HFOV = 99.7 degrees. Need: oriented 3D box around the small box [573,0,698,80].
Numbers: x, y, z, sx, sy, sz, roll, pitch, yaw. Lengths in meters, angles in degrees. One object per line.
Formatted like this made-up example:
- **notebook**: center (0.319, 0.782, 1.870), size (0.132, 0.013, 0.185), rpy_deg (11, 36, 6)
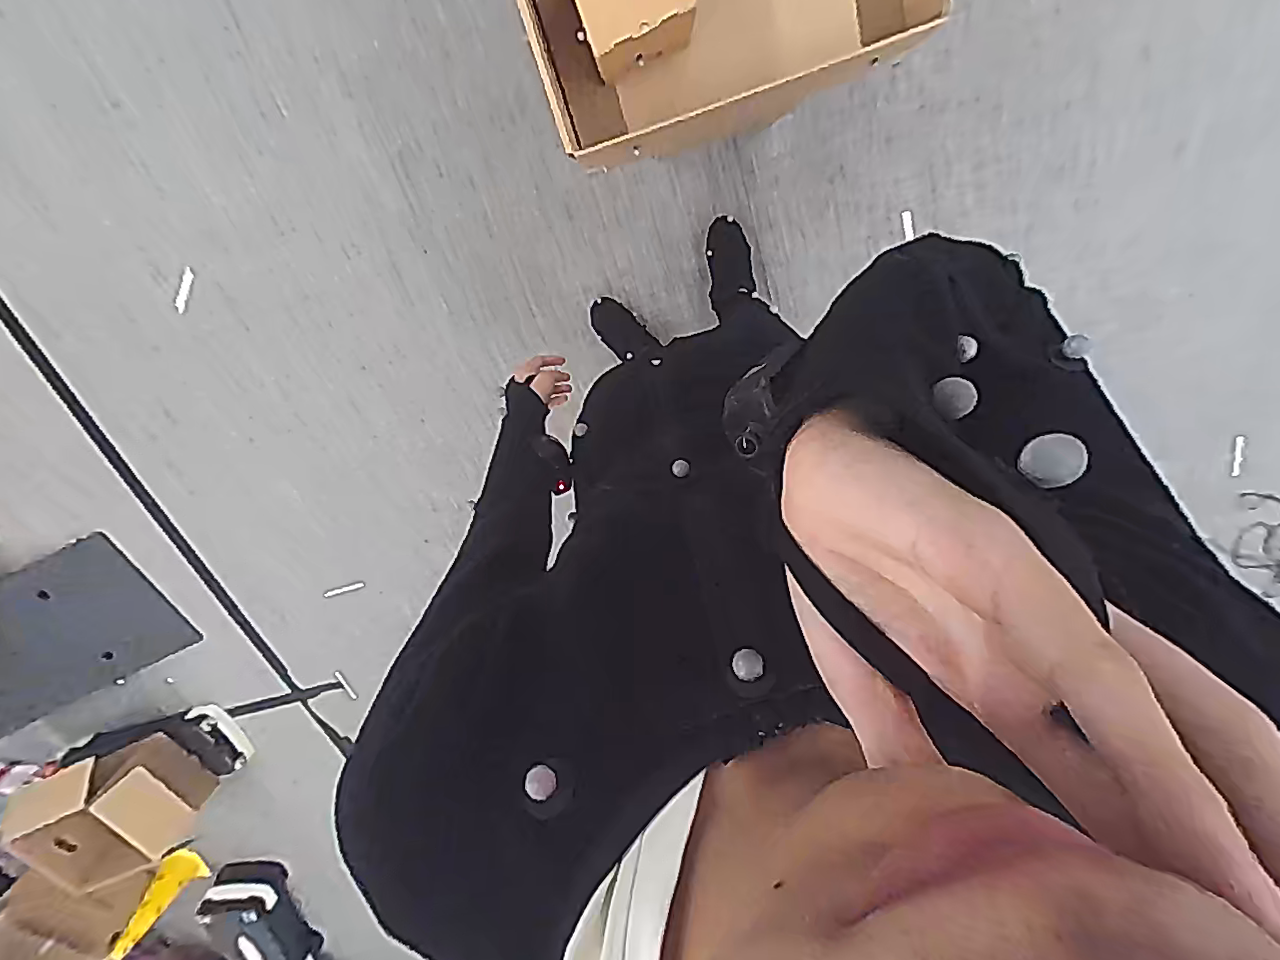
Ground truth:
- **small box**: center (-0.022, -0.767, 0.833), size (0.168, 0.176, 0.179), rpy_deg (-20, 112, 10)
